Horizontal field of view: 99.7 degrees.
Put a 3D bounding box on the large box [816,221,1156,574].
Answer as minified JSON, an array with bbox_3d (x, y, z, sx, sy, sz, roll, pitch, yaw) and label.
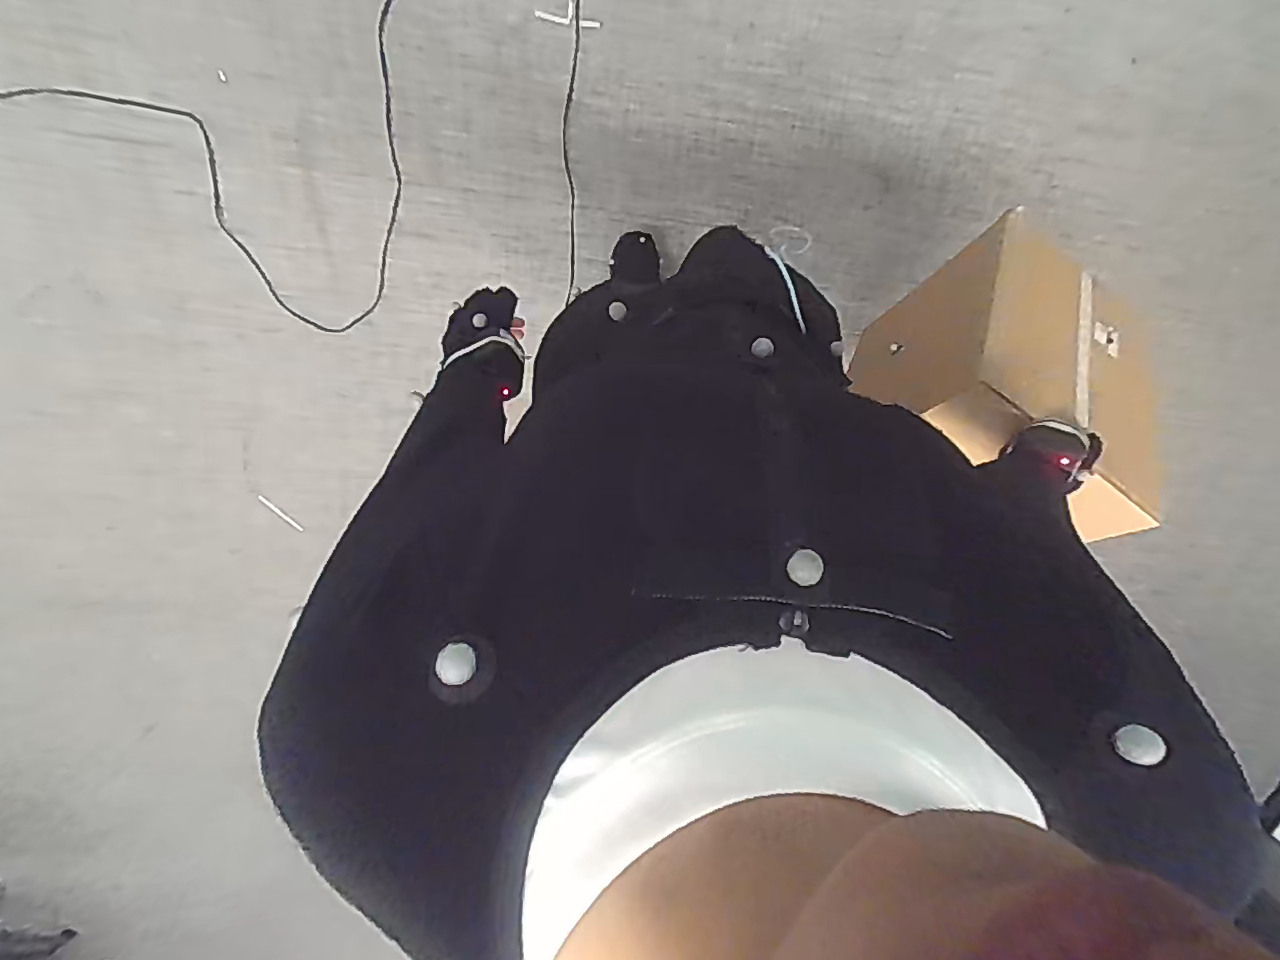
[{"bbox_3d":[0.545,-0.117,0.884,0.320,0.408,0.320,34,148,-8],"label":"large box"}]
